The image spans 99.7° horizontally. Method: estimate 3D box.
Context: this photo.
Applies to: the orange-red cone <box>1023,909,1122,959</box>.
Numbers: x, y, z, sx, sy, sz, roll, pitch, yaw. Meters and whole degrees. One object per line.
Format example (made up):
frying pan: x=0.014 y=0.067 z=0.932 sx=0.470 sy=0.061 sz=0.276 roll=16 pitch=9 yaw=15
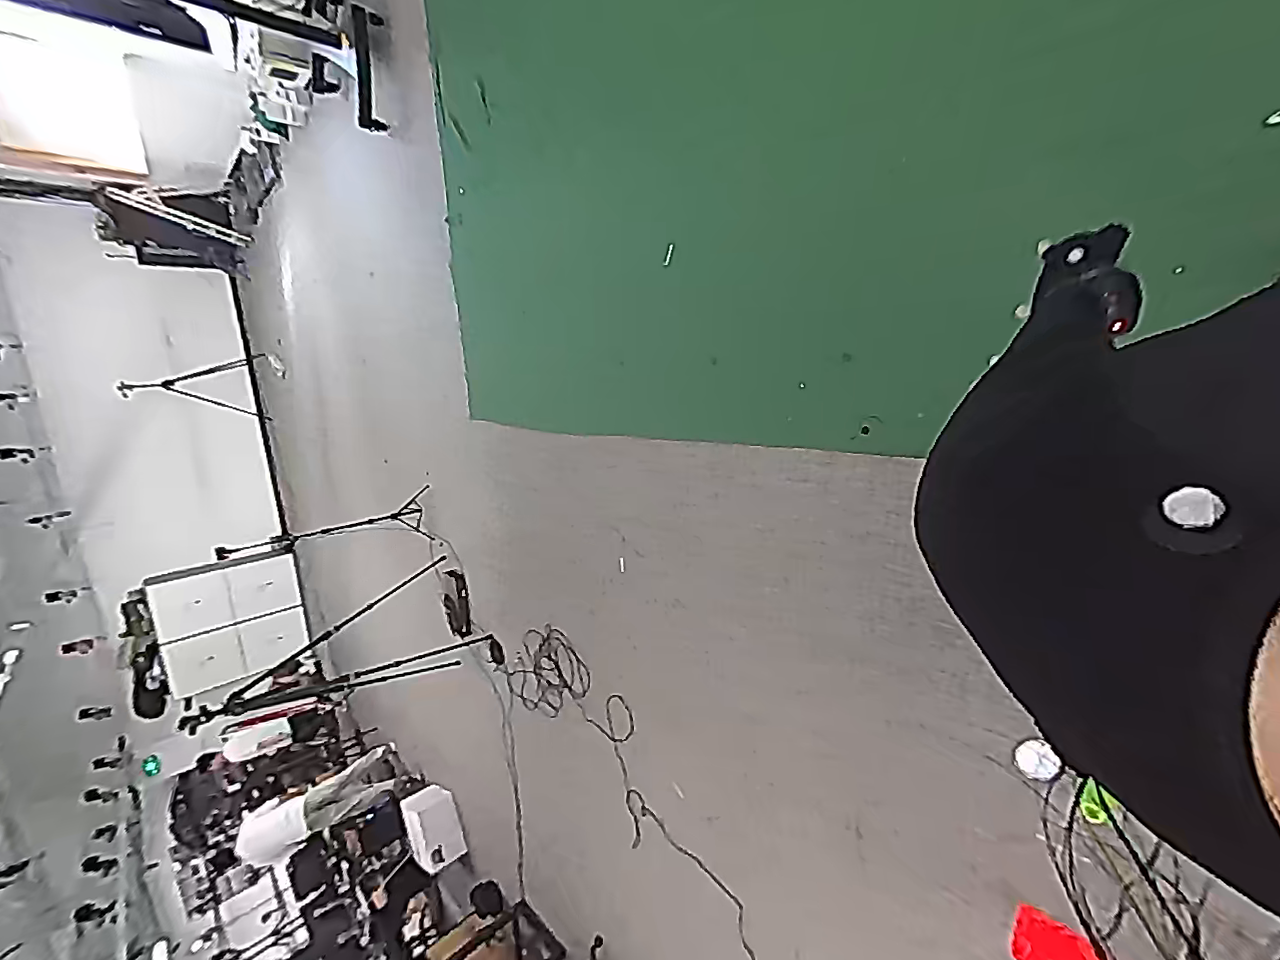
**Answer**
orange-red cone: x=1.024 y=1.300 z=1.320 sx=0.198 sy=0.360 sz=0.199 roll=15 pitch=110 yaw=44
